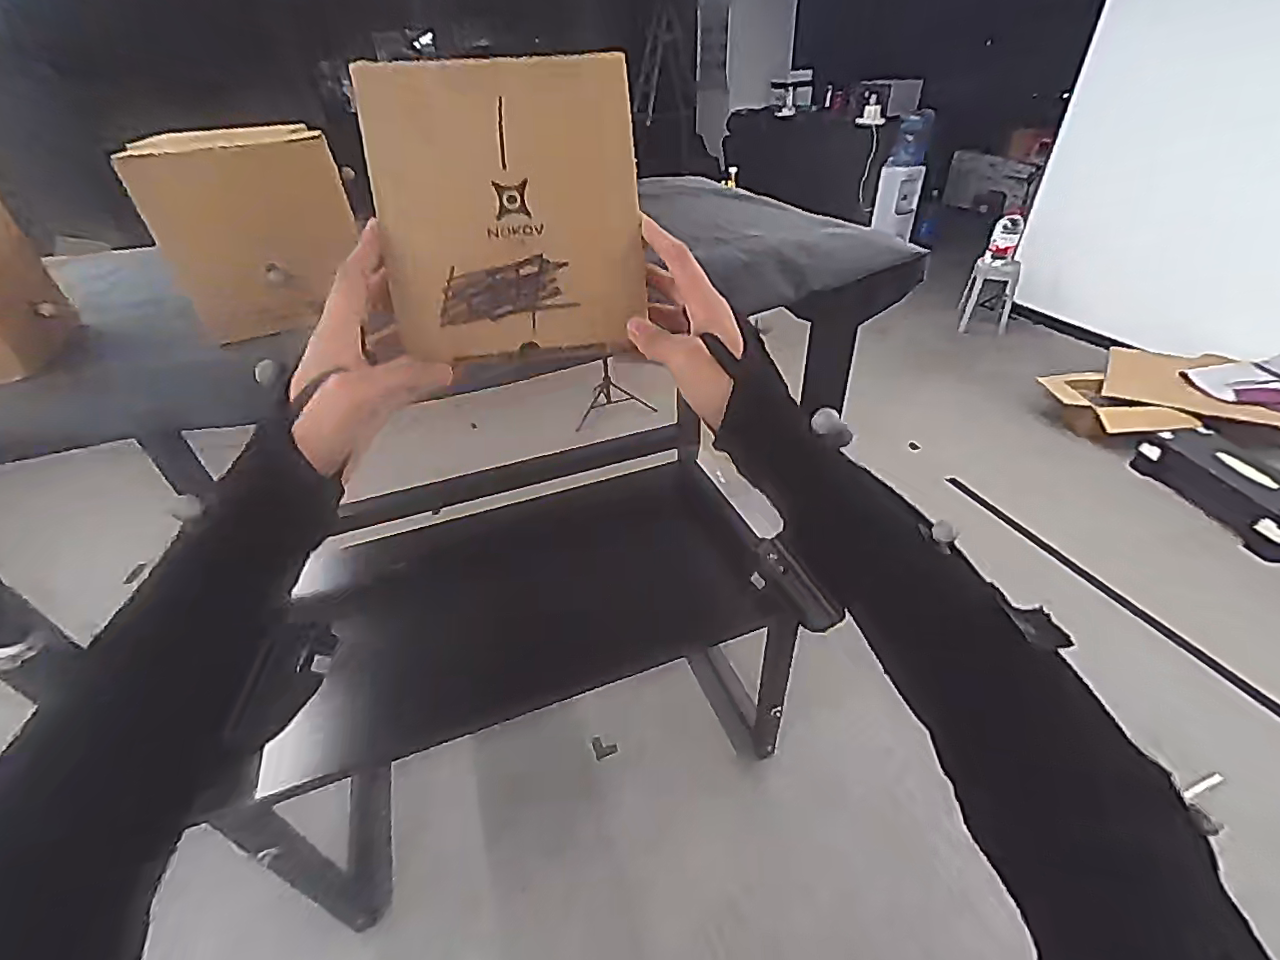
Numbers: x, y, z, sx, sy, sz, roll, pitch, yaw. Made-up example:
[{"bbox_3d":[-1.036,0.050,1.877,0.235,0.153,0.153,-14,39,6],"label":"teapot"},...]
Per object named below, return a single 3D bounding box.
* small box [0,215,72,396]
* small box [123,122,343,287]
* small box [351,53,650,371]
[{"bbox_3d":[-0.685,-0.170,0.490,0.168,0.176,0.179,-20,41,-20],"label":"small box"},{"bbox_3d":[-0.527,-0.373,0.737,0.168,0.176,0.179,-13,40,-13],"label":"small box"},{"bbox_3d":[-0.088,-0.181,0.415,0.168,0.179,0.176,-7,12,-6],"label":"small box"}]
